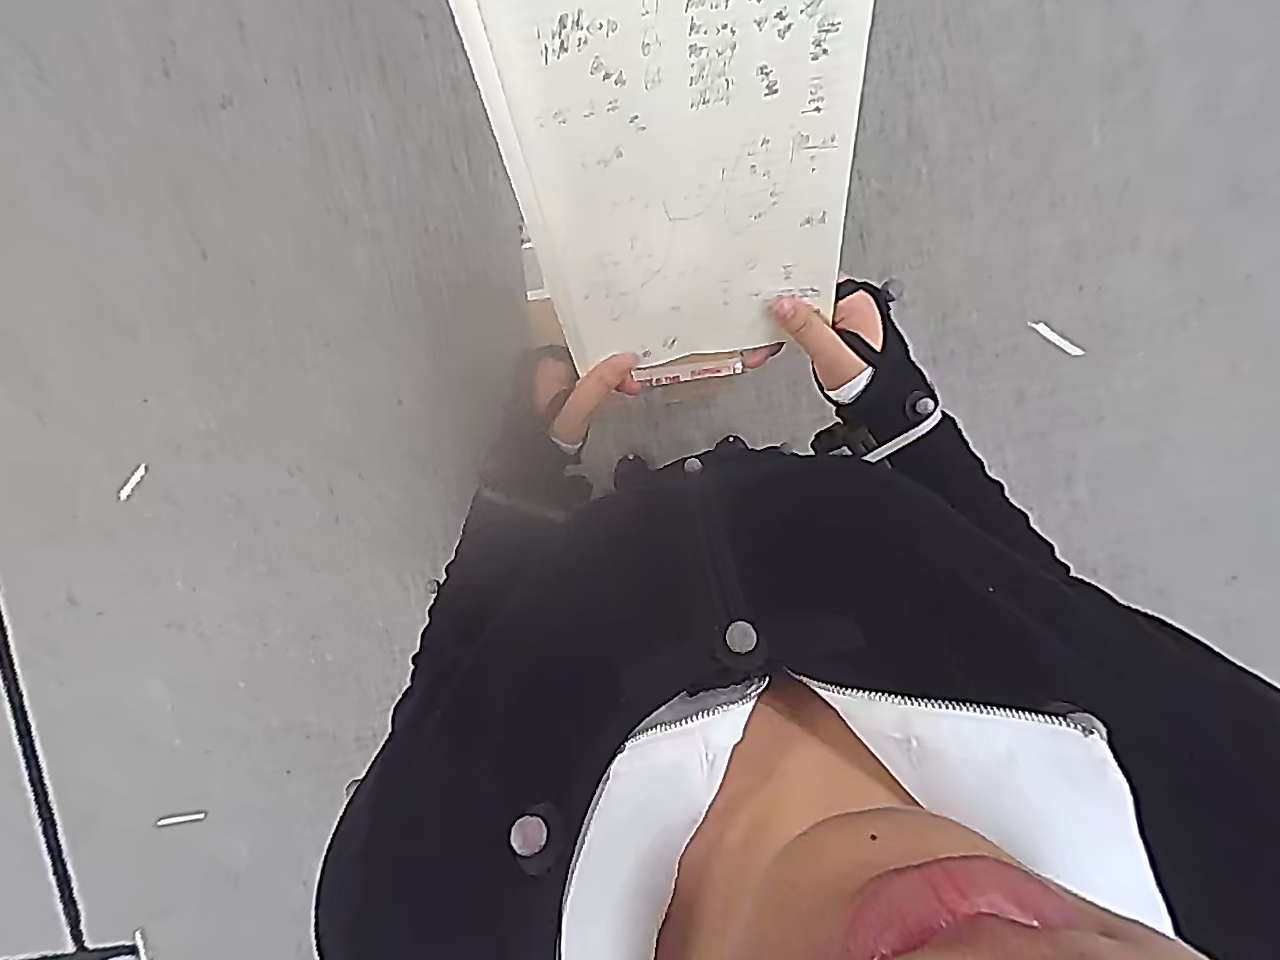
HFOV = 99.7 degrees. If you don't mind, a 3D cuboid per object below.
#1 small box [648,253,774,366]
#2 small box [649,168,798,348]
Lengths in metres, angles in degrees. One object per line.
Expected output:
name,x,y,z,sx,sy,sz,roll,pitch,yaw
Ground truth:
small box,0.113,-0.303,0.931,0.179,0.176,0.168,-13,93,2
small box,0.107,-0.301,0.767,0.168,0.176,0.179,-11,93,1
